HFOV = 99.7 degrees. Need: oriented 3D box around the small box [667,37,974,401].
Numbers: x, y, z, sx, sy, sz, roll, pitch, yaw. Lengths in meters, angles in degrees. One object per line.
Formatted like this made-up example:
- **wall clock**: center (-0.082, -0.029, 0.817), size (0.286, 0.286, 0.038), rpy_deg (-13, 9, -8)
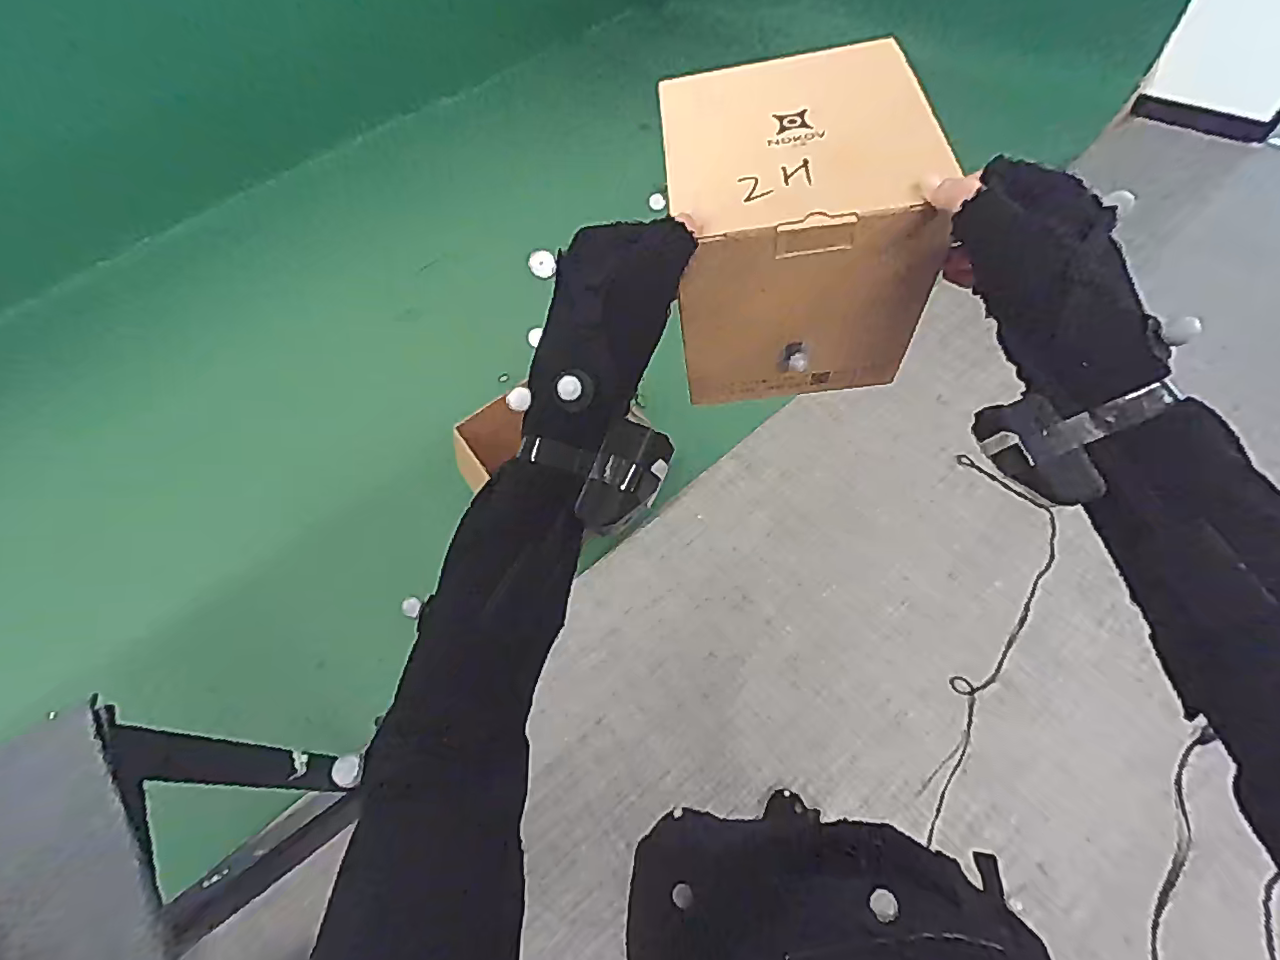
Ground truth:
- **small box**: center (0.111, -0.184, 0.410), size (0.168, 0.176, 0.179), rpy_deg (-5, 61, 8)
